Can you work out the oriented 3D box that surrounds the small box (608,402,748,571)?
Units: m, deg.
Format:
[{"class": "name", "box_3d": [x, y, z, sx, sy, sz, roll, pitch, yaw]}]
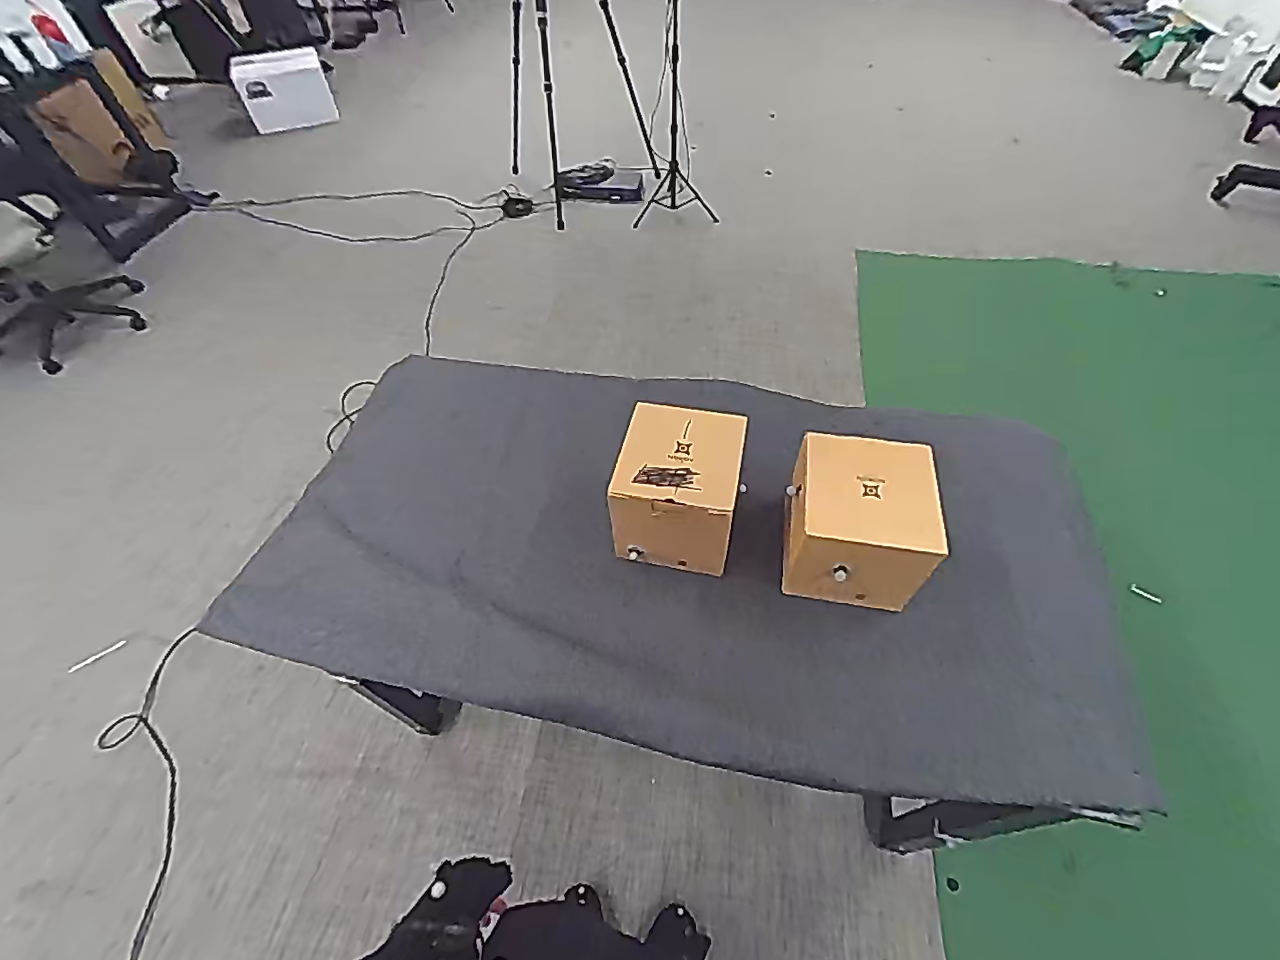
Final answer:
[{"class": "small box", "box_3d": [0.060, 0.013, 0.798, 0.168, 0.176, 0.179, 9, 53, 10]}]

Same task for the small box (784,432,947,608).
[{"class": "small box", "box_3d": [0.299, 0.059, 0.752, 0.168, 0.176, 0.179, 7, 53, 9]}]
